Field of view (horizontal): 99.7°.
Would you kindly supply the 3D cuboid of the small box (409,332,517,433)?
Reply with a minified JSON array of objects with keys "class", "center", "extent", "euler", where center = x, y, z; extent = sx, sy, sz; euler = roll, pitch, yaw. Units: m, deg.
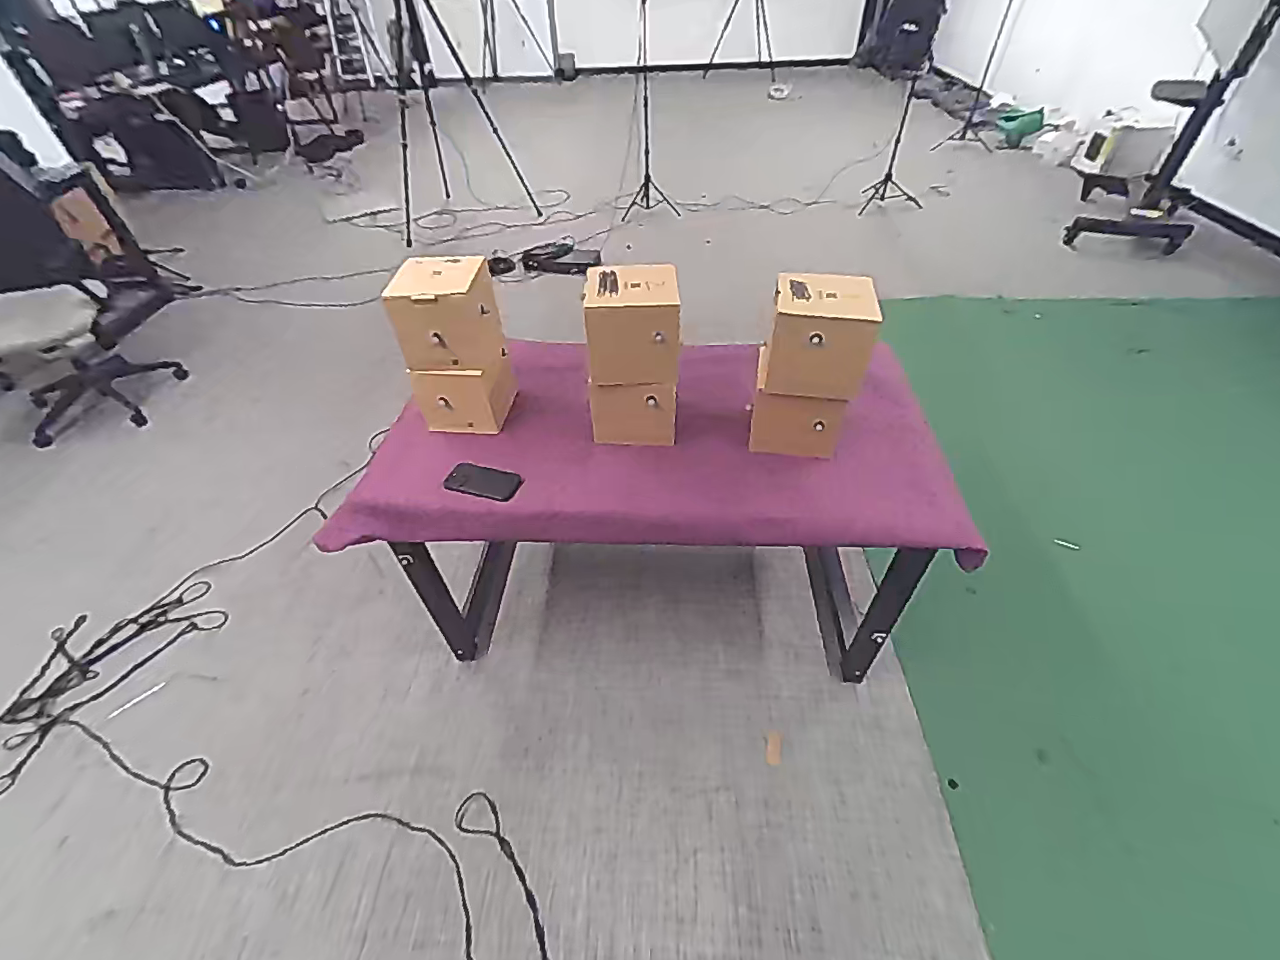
[{"class":"small box","center":[-0.392,-0.223,1.236],"extent":[0.168,0.176,0.179],"euler":[3,45,5]}]

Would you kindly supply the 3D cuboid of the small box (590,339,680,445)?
[{"class":"small box","center":[-0.005,-0.191,1.186],"extent":[0.179,0.176,0.168],"euler":[2,45,5]}]

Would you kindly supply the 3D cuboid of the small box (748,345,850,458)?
[{"class":"small box","center":[0.332,-0.164,1.148],"extent":[0.179,0.176,0.168],"euler":[7,45,10]}]

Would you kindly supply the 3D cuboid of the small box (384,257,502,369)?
[{"class":"small box","center":[-0.396,-0.344,1.126],"extent":[0.168,0.176,0.179],"euler":[0,46,1]}]

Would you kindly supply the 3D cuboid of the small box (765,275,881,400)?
[{"class":"small box","center":[0.334,-0.268,1.021],"extent":[0.179,0.176,0.168],"euler":[7,46,9]}]
